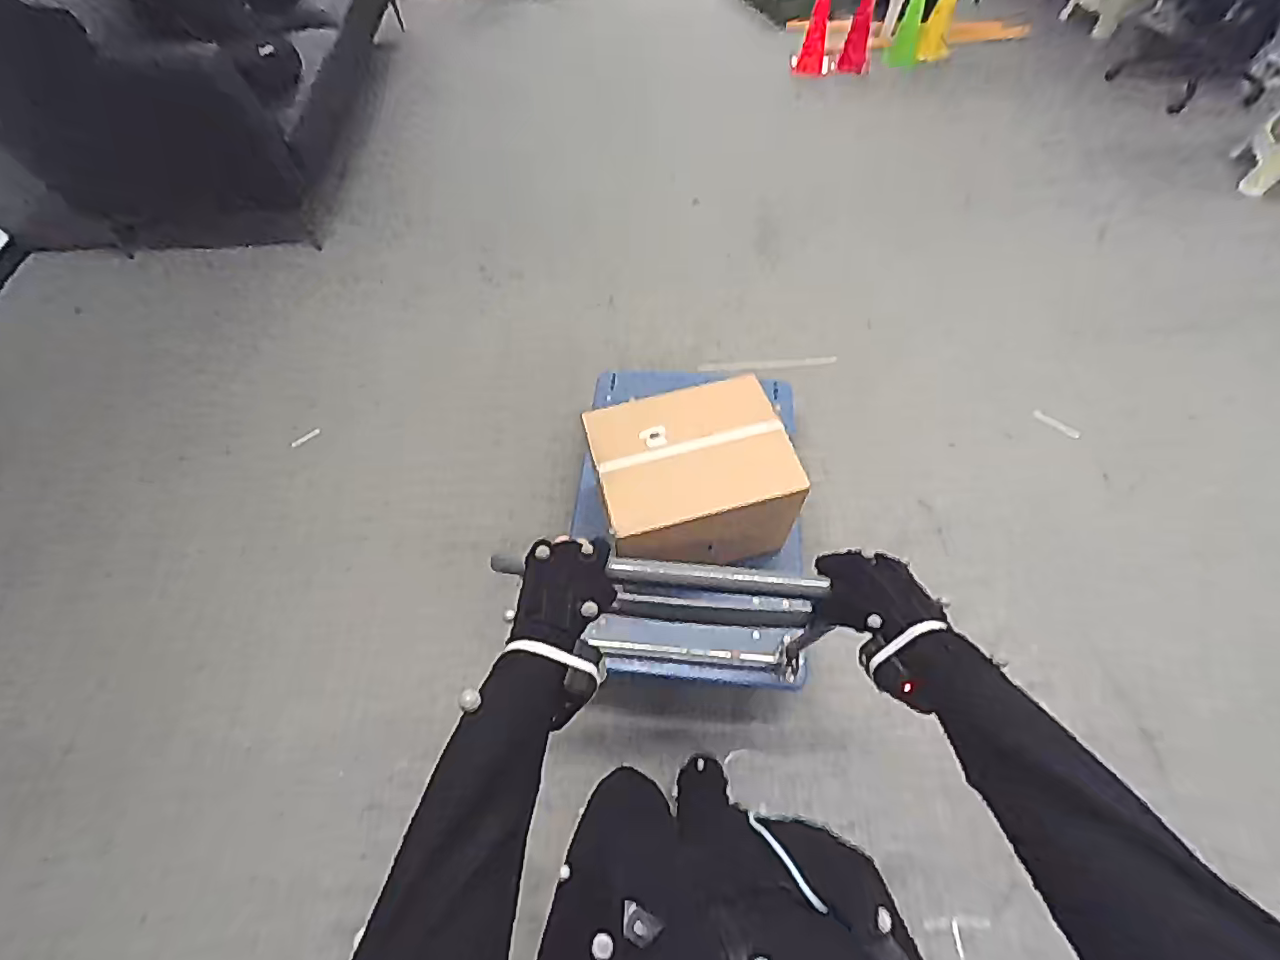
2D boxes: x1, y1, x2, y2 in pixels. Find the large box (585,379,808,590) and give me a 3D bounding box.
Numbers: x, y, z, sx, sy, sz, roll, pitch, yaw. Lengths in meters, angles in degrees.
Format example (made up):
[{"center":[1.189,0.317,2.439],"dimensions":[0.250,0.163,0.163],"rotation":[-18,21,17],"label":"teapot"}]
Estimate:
[{"center":[0.116,0.020,1.262],"dimensions":[0.408,0.320,0.320],"rotation":[-15,59,-5],"label":"large box"}]
